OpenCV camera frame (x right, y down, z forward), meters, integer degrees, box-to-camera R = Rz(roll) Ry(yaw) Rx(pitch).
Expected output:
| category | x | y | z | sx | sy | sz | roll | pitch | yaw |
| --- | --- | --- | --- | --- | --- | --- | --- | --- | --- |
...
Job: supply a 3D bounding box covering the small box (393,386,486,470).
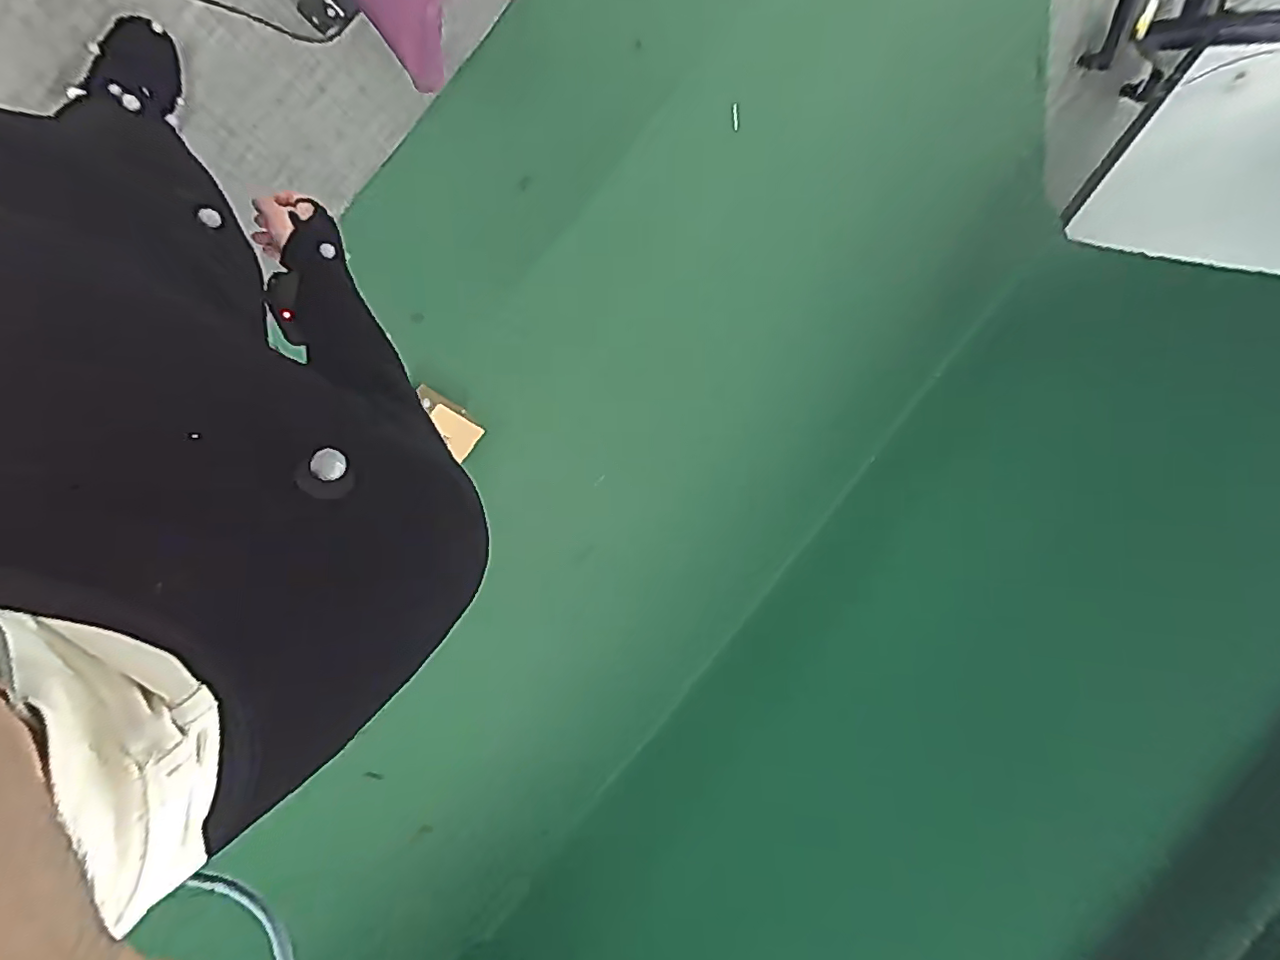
| category | x | y | z | sx | sy | sz | roll | pitch | yaw |
| --- | --- | --- | --- | --- | --- | --- | --- | --- | --- |
| small box | -0.606 | -0.162 | 1.622 | 0.168 | 0.176 | 0.179 | -52 | 138 | 2 |
